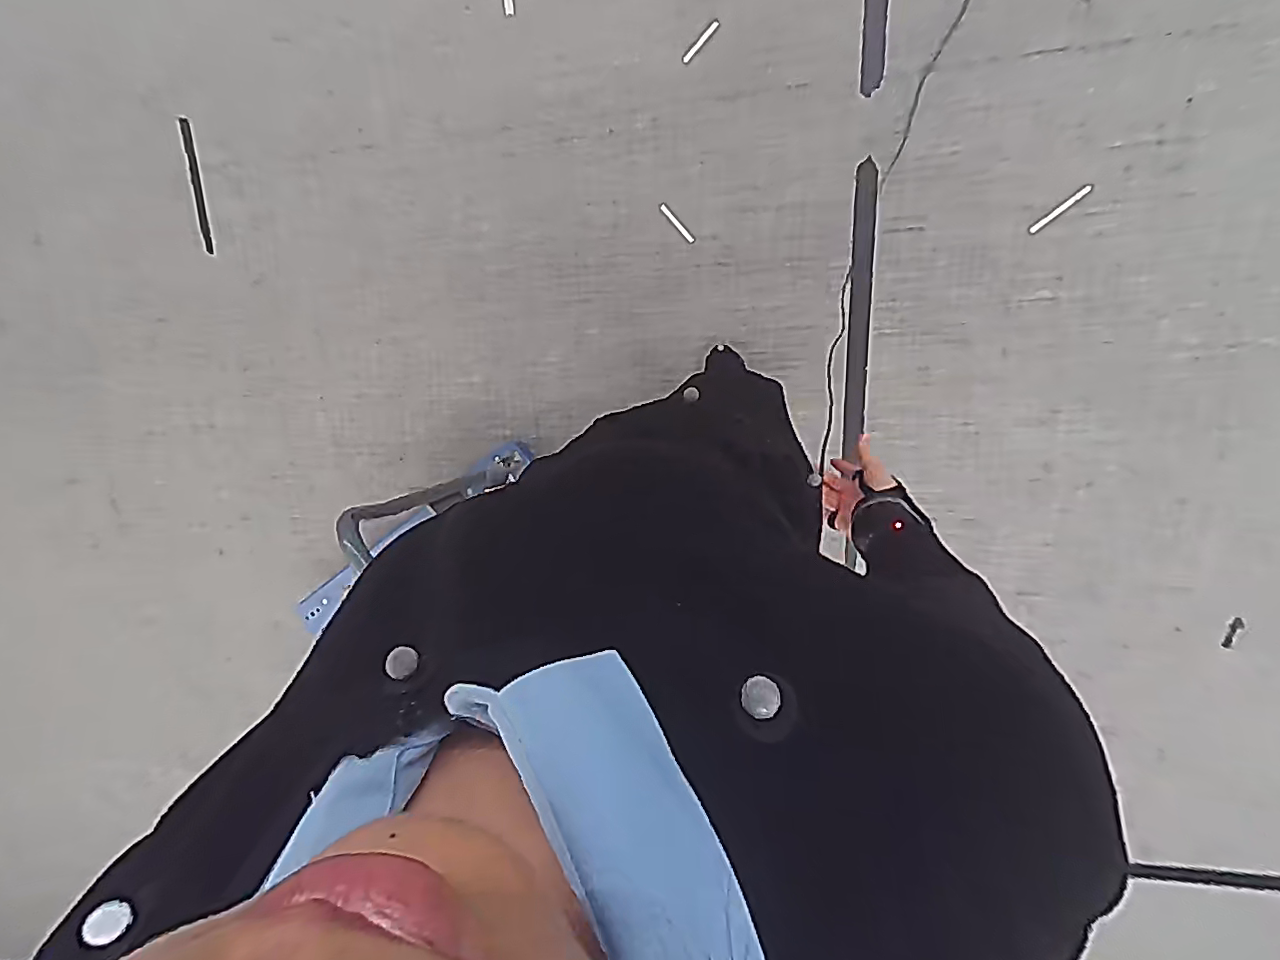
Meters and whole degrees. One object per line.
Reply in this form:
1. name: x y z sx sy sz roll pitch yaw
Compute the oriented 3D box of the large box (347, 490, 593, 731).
1. large box: -0.378 0.290 1.292 0.320 0.320 0.408 -35 93 14
